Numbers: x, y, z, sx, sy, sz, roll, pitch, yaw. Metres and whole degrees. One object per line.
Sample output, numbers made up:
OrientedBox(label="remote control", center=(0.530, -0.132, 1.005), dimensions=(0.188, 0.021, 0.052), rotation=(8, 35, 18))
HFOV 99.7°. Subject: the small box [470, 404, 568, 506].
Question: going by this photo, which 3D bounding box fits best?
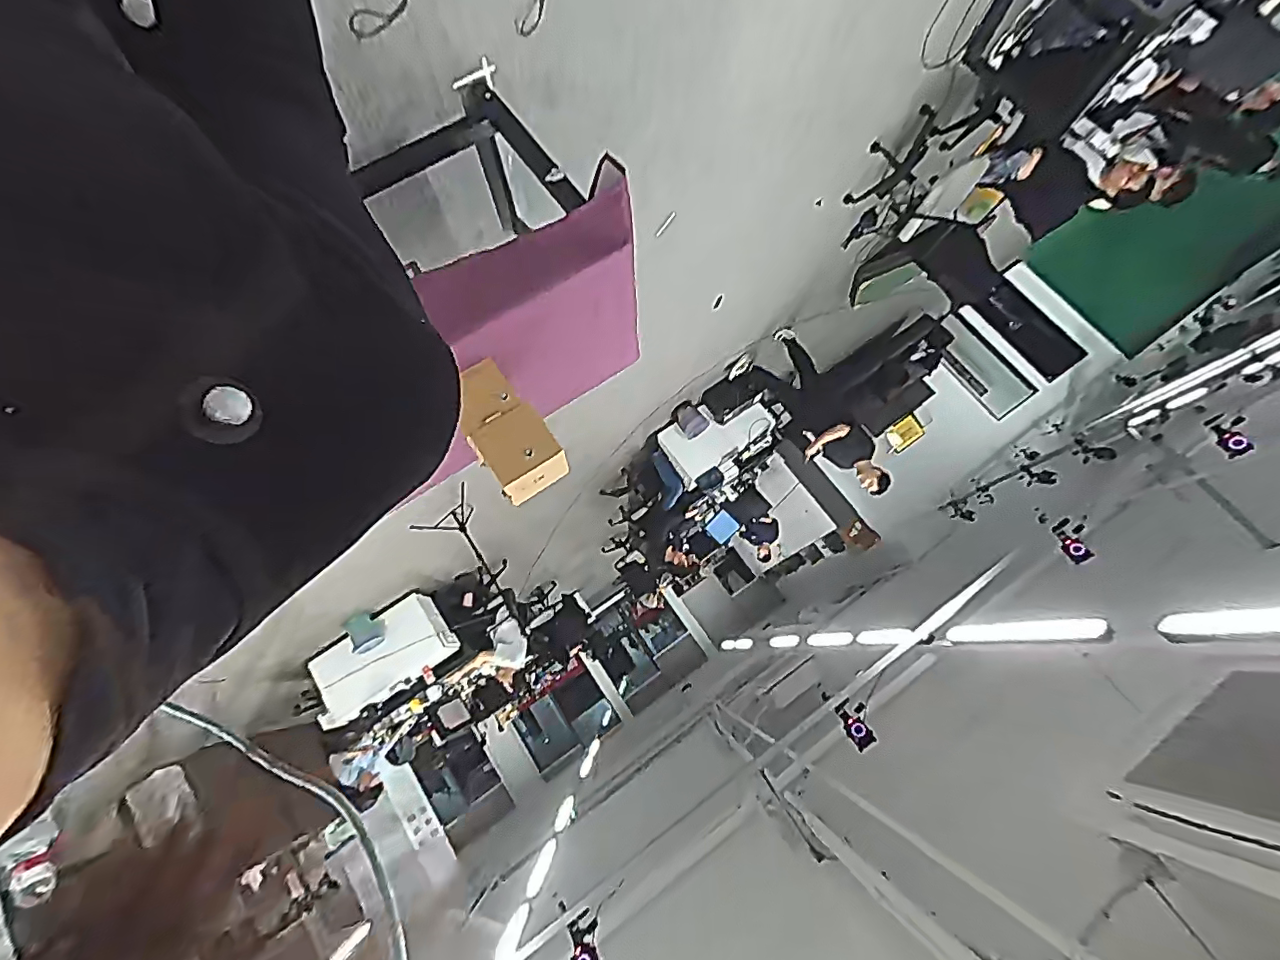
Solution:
OrientedBox(label="small box", center=(-0.309, -0.066, 1.400), dimensions=(0.179, 0.176, 0.168), rotation=(-33, 166, -13))
